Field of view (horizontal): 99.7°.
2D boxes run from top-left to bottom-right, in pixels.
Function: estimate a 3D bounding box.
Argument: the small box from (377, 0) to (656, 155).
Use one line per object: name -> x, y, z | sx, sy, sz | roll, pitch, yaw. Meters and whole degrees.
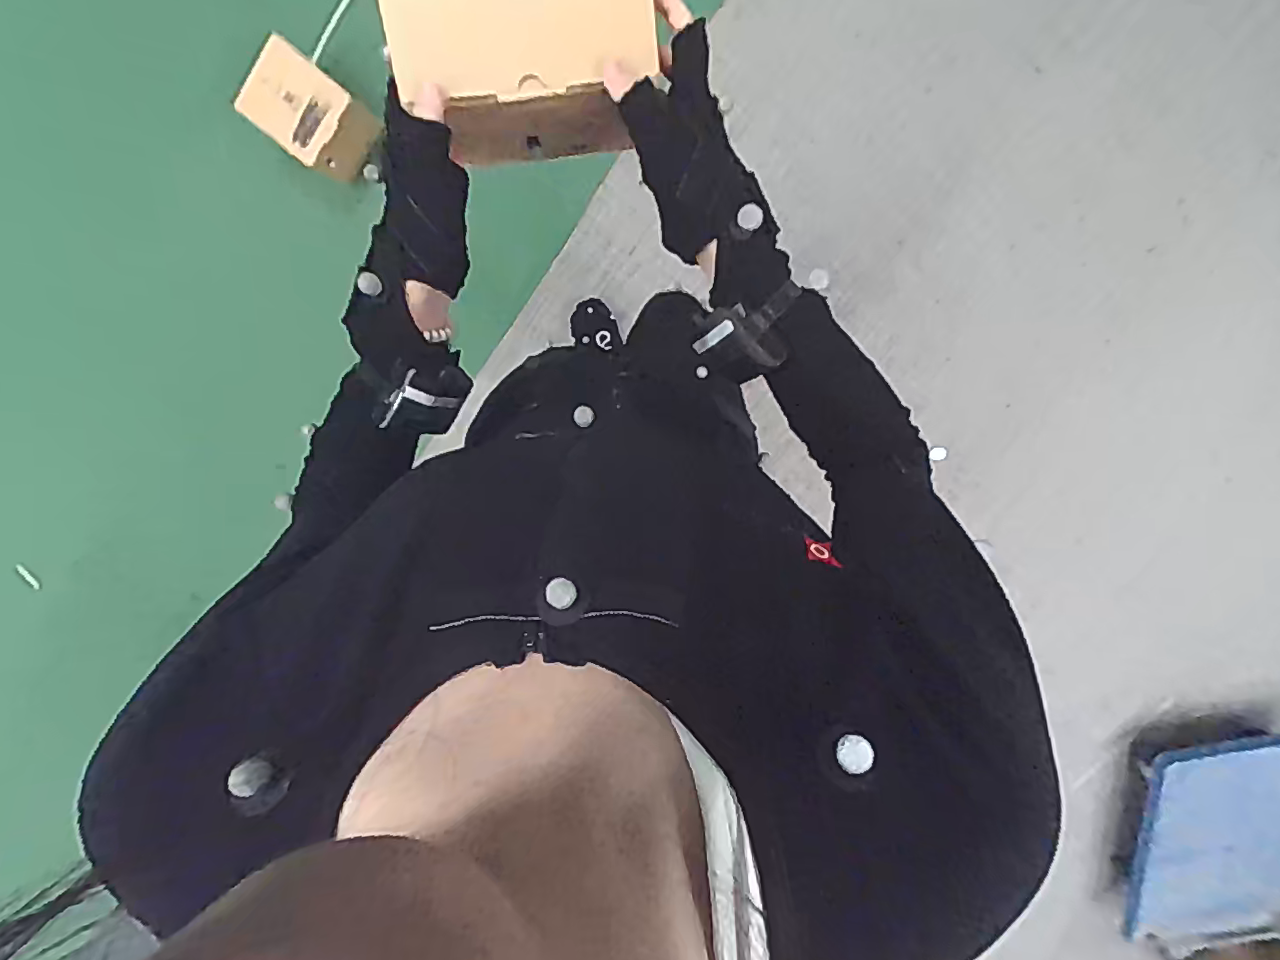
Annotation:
small box -> -0.085, -0.355, 0.384 | 0.168, 0.176, 0.179 | -8, 111, -1
